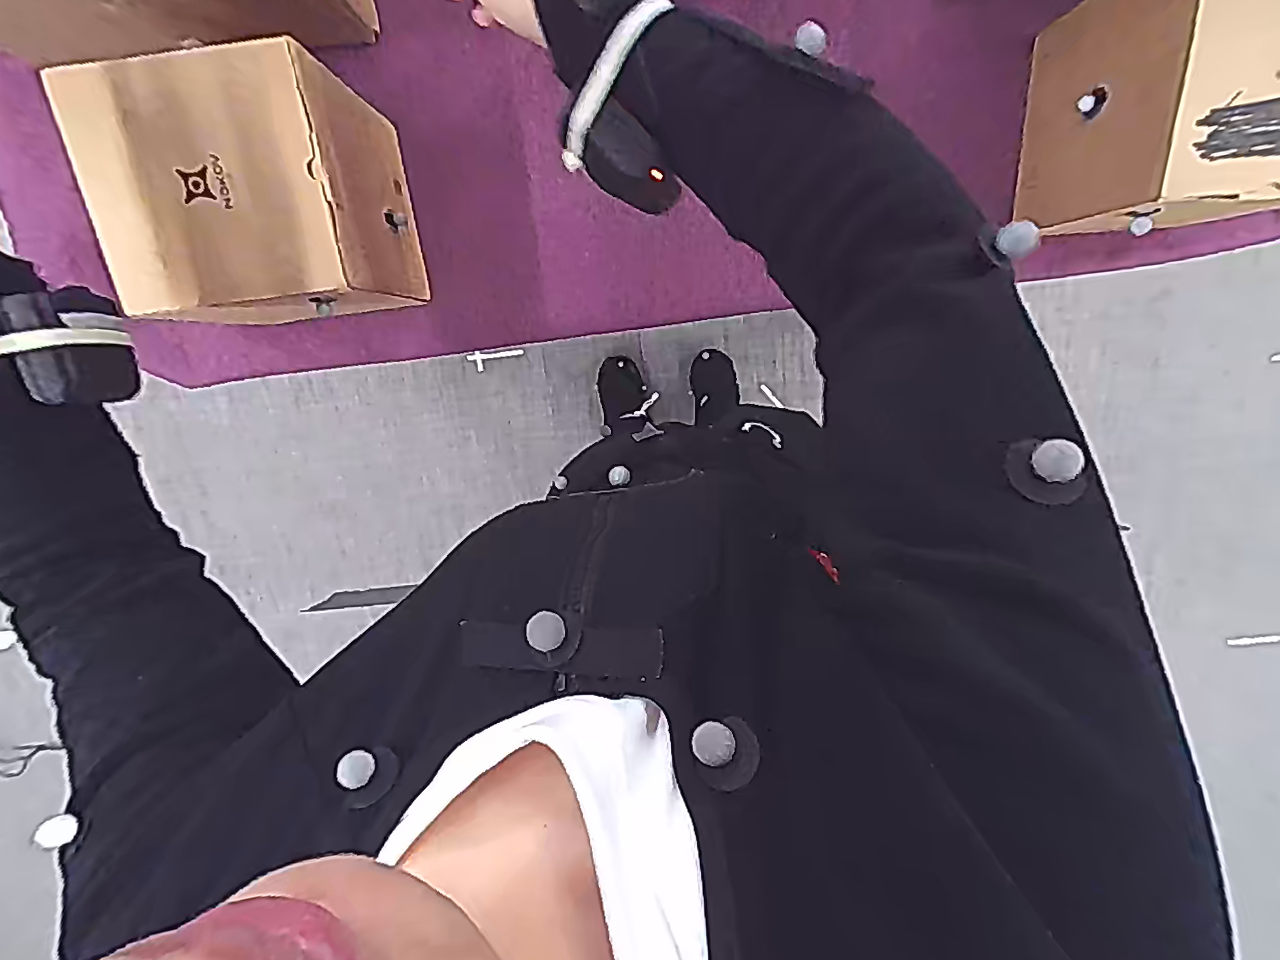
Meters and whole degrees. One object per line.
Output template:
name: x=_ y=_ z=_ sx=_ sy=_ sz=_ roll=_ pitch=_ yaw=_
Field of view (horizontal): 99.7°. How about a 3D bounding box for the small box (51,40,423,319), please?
small box: x=-0.320 y=-0.237 z=0.474 sx=0.179 sy=0.176 sz=0.168 roll=-8 pitch=105 yaw=1
